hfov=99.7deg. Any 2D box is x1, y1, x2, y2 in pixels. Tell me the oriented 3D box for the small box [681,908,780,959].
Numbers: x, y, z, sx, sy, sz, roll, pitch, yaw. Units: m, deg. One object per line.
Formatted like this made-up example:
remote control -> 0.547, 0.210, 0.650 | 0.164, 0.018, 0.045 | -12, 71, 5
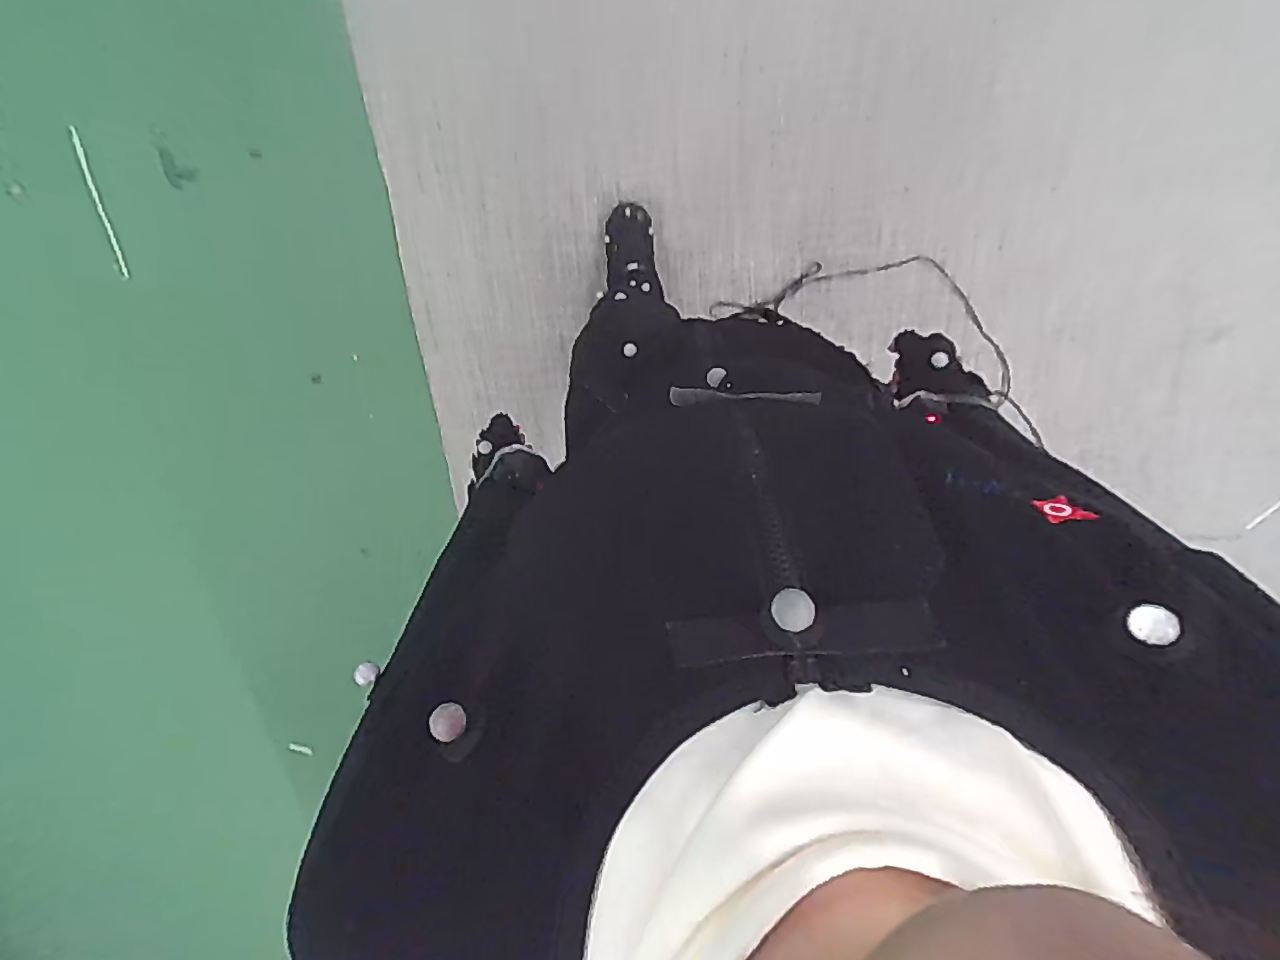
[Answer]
small box -> 0.164, 0.884, 0.928 | 0.168, 0.176, 0.179 | -8, 109, 2
